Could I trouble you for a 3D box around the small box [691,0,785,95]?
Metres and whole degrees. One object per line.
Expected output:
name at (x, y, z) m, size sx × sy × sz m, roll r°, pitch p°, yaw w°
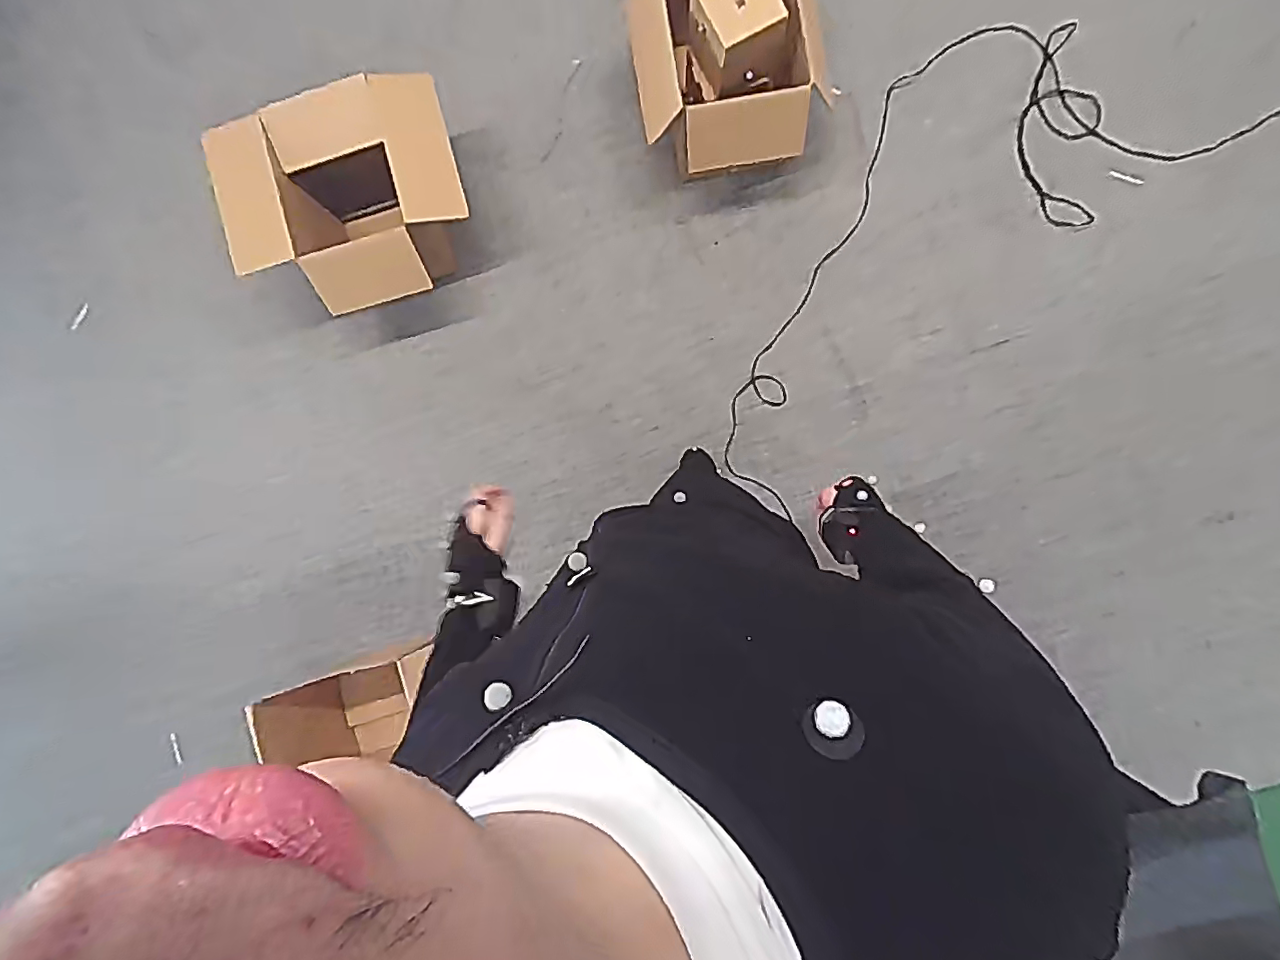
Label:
small box at (0.227, -1.092, 1.303) m, size 0.168 × 0.176 × 0.179 m, roll -23°, pitch 86°, yaw 4°
